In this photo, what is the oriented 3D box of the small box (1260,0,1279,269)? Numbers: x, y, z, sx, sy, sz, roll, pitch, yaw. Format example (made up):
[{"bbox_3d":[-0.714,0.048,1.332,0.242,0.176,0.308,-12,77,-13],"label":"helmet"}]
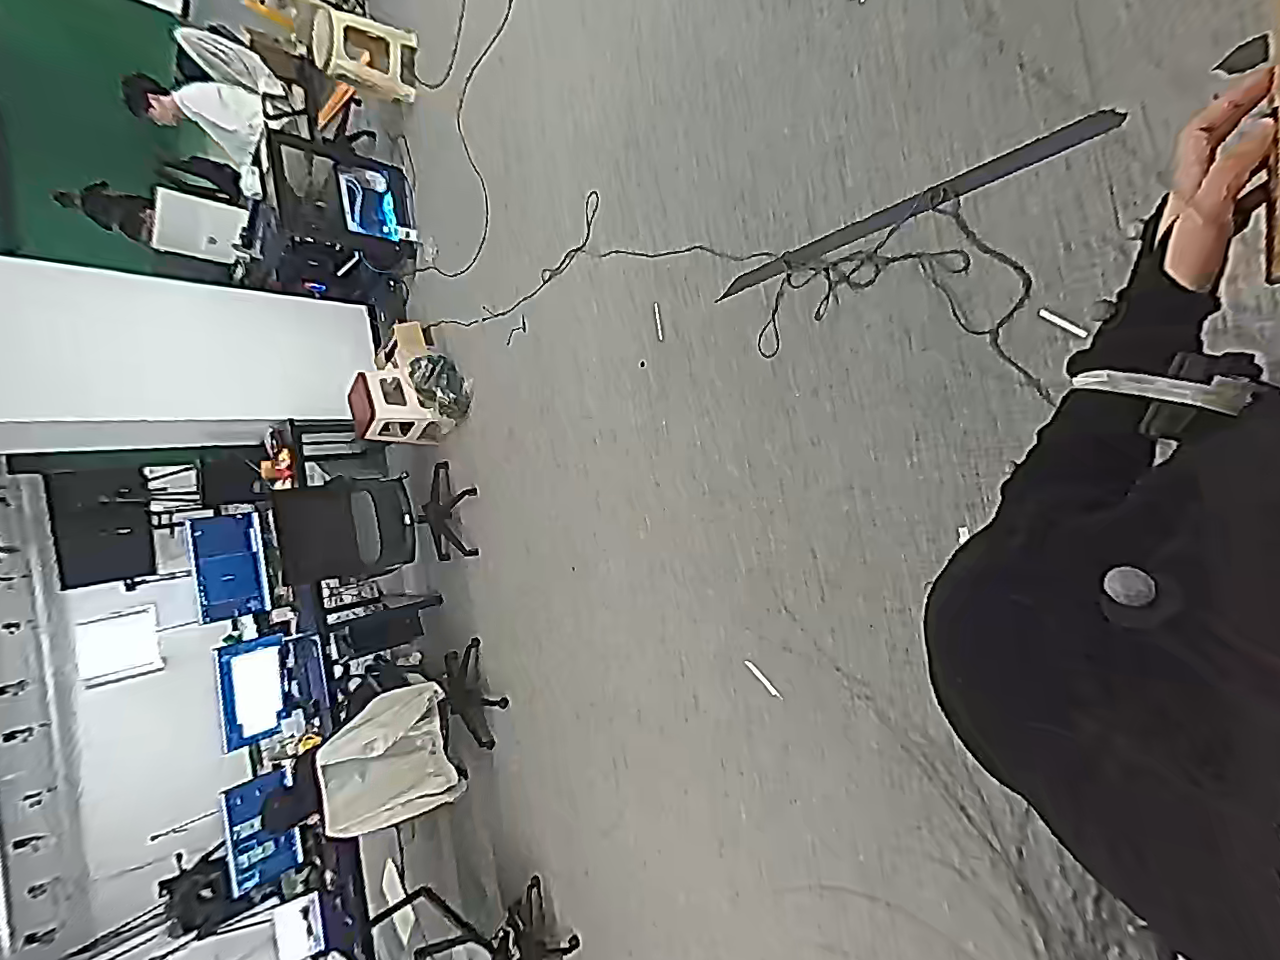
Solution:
[{"bbox_3d":[0.436,-0.212,0.265,0.168,0.176,0.179,0,102,47],"label":"small box"}]
